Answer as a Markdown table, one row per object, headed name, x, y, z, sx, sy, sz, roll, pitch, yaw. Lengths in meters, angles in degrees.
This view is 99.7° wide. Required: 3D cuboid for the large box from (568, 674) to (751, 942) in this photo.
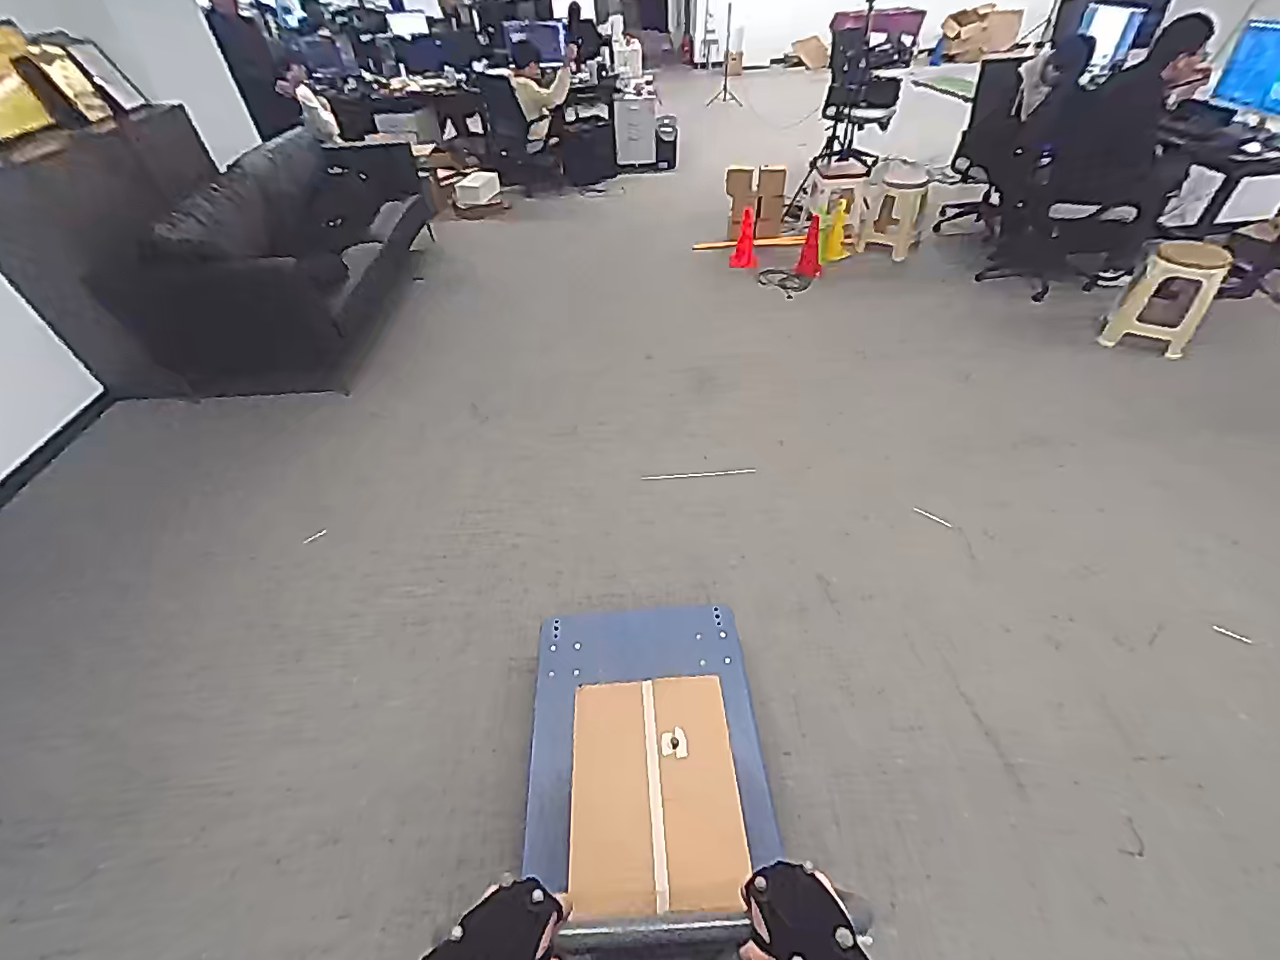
| name | x | y | z | sx | sy | sz | roll | pitch | yaw |
| --- | --- | --- | --- | --- | --- | --- | --- | --- | --- |
| large box | 0.030 | 0.680 | 1.137 | 0.320 | 0.320 | 0.408 | -4 | 44 | -1 |
